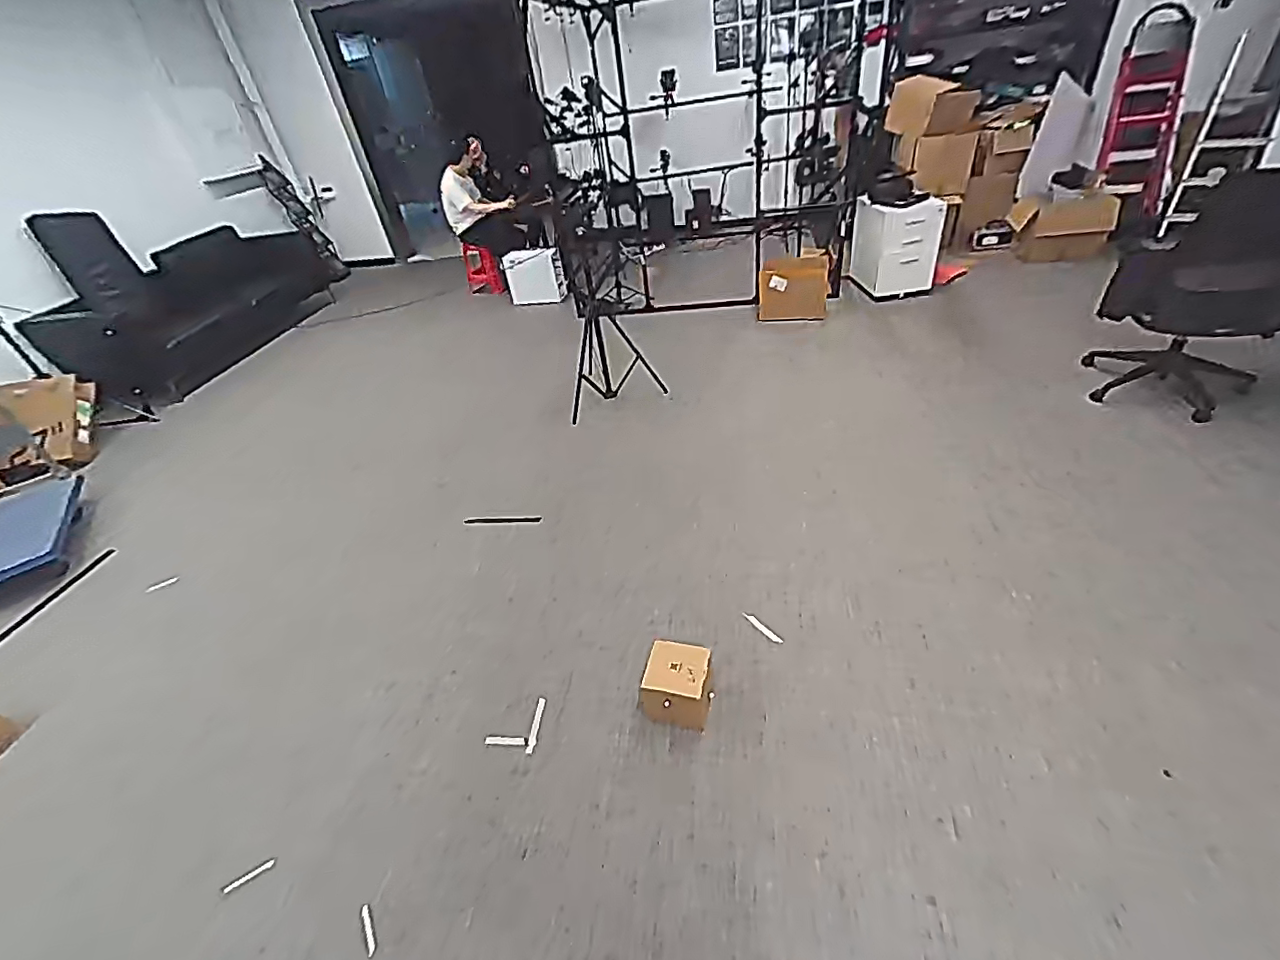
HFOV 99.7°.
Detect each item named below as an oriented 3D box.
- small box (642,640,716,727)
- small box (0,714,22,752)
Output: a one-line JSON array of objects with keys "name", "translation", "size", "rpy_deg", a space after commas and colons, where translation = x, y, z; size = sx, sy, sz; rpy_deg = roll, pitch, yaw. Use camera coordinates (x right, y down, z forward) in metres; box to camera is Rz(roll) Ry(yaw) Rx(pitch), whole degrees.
[{"name": "small box", "translation": [0.122, 0.605, 1.603], "size": [0.179, 0.176, 0.168], "rpy_deg": [5, 40, 18]}, {"name": "small box", "translation": [-2.253, 0.863, 1.793], "size": [0.179, 0.176, 0.168], "rpy_deg": [-6, 37, 6]}]
